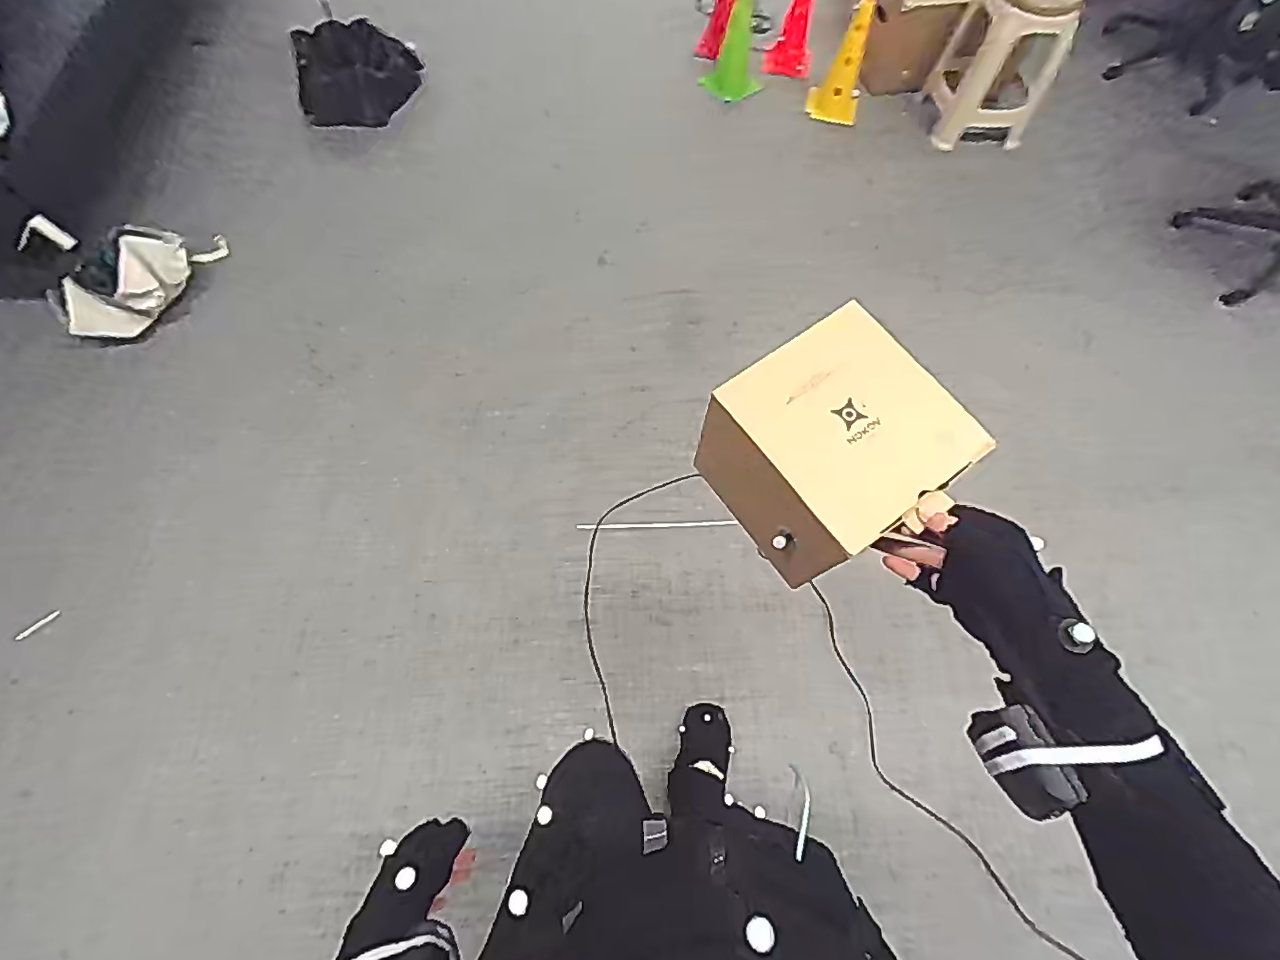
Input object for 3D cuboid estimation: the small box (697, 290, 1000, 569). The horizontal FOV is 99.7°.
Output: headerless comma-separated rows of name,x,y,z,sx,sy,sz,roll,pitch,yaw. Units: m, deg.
small box,0.173,-0.032,0.511,0.168,0.176,0.179,-35,74,-11
